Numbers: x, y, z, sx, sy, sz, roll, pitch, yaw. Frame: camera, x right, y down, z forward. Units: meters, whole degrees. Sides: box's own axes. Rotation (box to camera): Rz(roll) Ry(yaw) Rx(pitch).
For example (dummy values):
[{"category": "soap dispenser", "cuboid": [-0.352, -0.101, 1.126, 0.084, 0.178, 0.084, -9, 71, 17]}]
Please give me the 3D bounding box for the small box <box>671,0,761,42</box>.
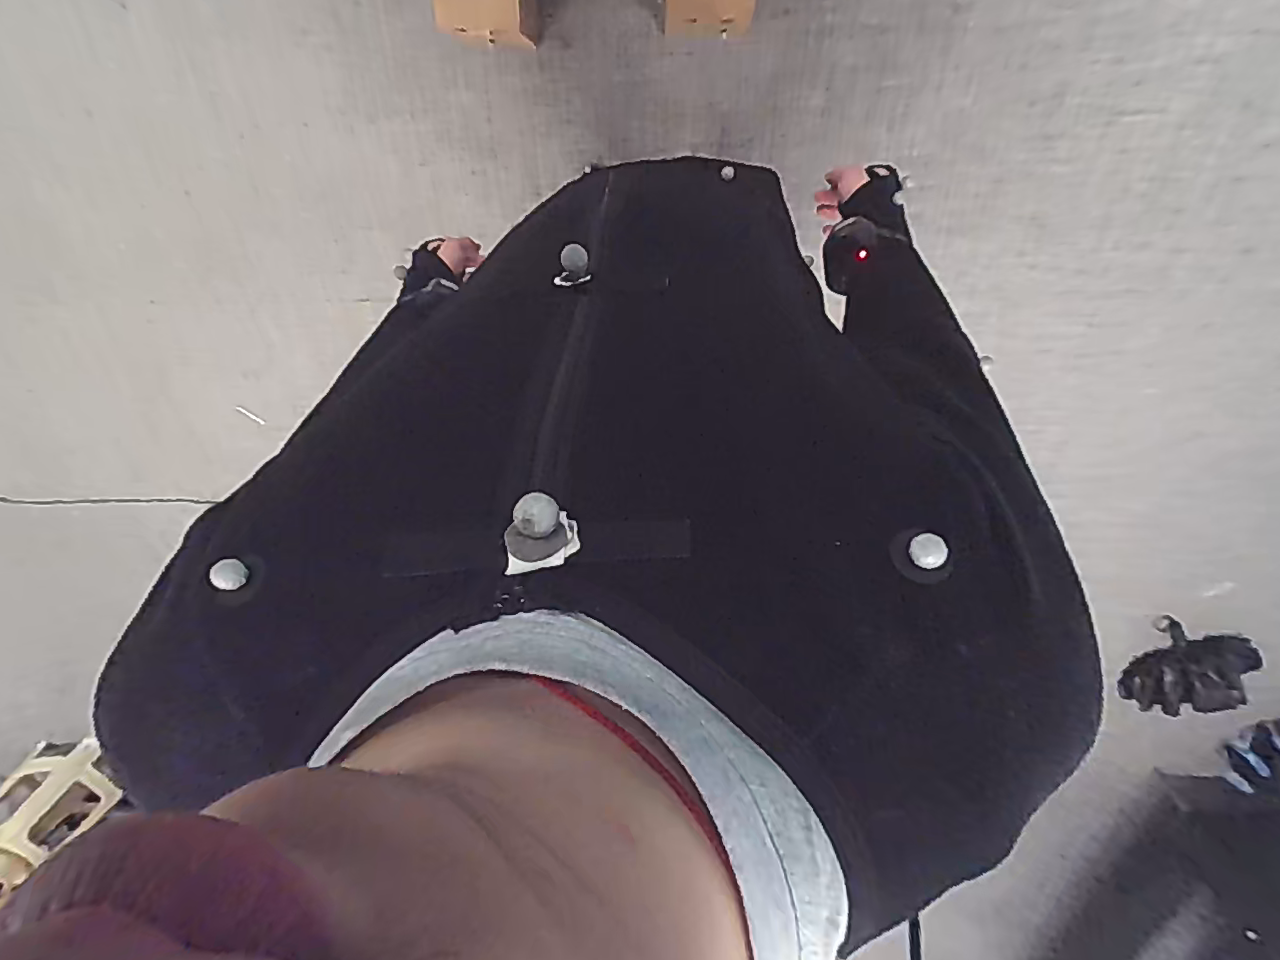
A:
[{"category": "small box", "cuboid": [0.147, -0.966, 1.038, 0.168, 0.176, 0.179, 2, 118, 2]}]
